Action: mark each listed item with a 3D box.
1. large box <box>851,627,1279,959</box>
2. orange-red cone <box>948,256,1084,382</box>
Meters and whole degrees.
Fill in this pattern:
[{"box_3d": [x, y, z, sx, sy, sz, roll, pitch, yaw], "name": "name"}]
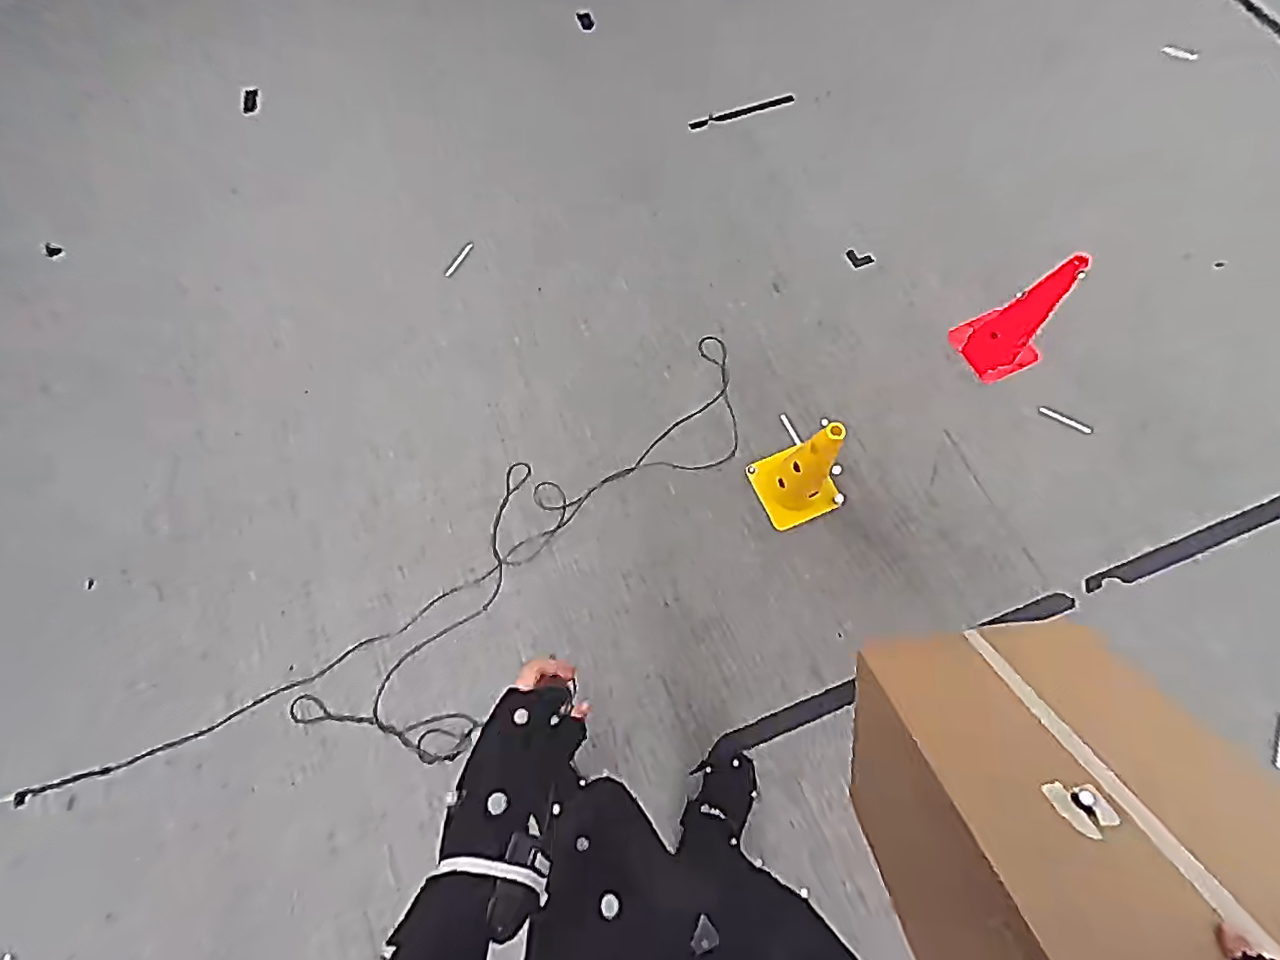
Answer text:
[{"box_3d": [0.481, 0.434, 0.637, 0.320, 0.408, 0.320, -7, 113, 1], "name": "large box"}, {"box_3d": [1.021, -0.446, 1.419, 0.199, 0.360, 0.198, -24, 71, -5], "name": "orange-red cone"}]
